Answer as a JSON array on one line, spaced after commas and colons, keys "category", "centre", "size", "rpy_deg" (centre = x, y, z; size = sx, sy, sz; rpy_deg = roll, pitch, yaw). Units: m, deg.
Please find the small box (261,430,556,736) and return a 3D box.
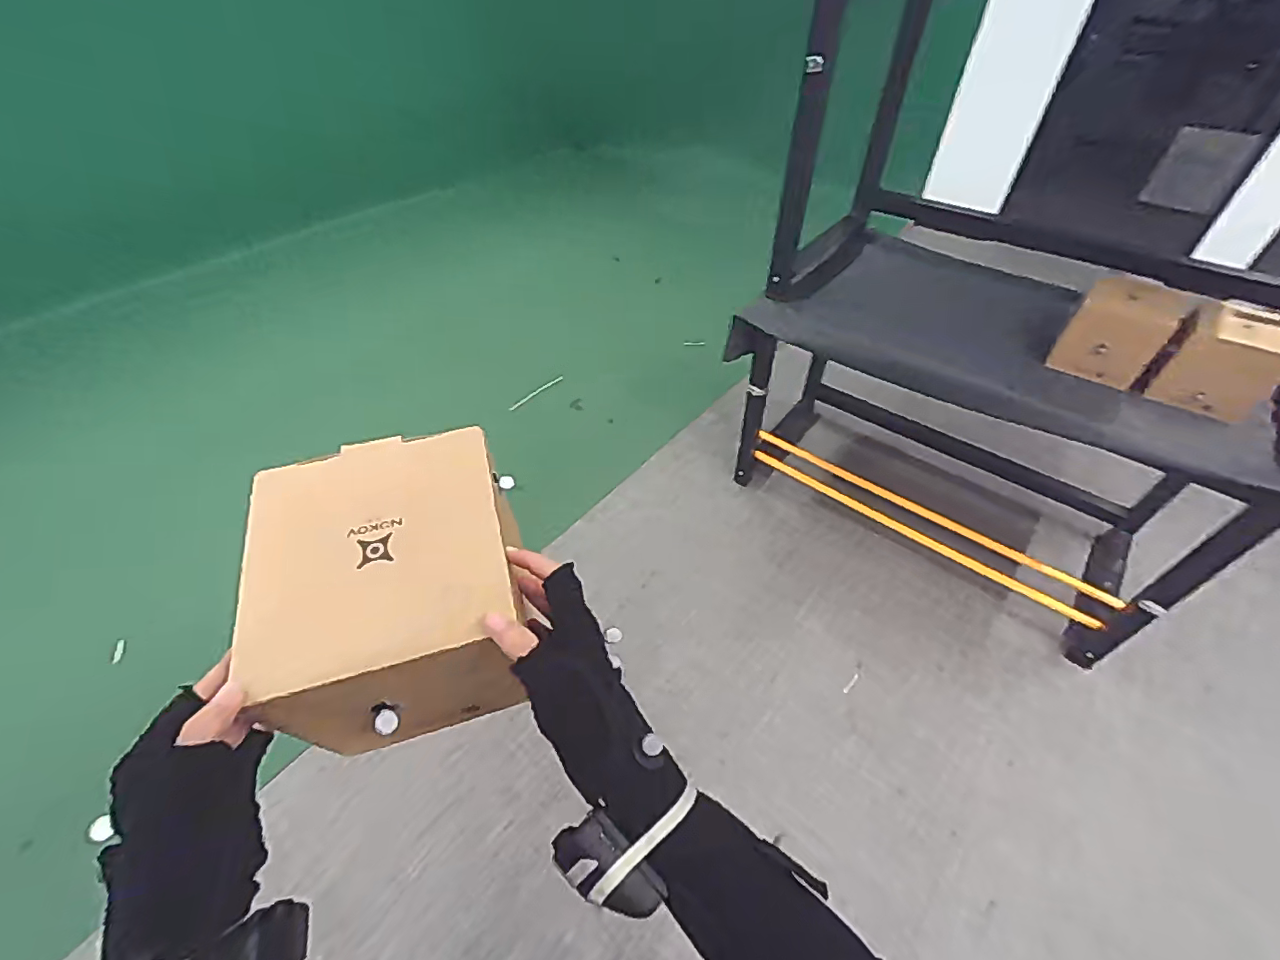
[{"category": "small box", "centre": [-0.170, 0.091, 0.440], "size": [0.168, 0.176, 0.179], "rpy_deg": [-14, 56, -11]}]
